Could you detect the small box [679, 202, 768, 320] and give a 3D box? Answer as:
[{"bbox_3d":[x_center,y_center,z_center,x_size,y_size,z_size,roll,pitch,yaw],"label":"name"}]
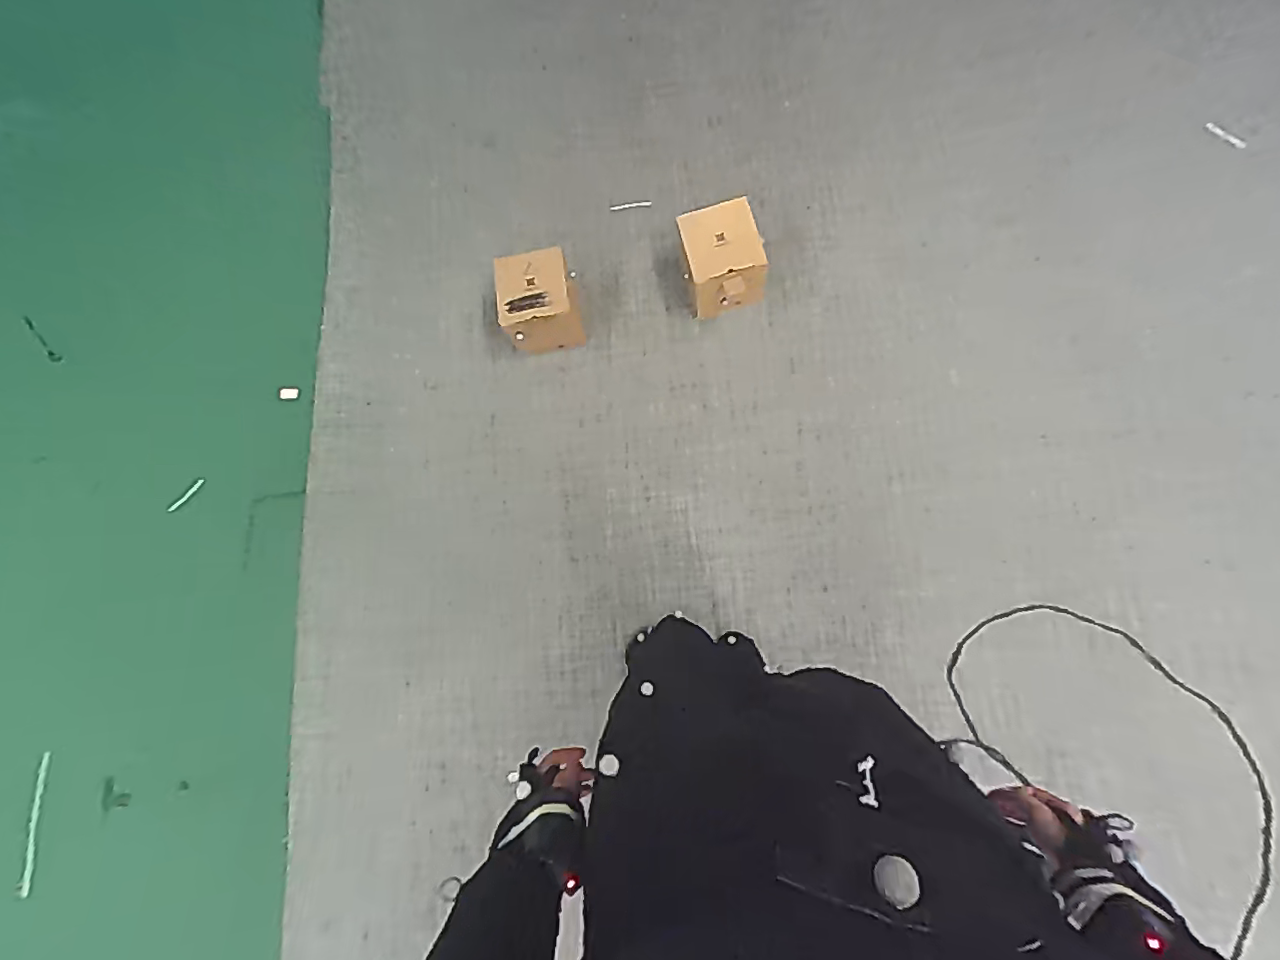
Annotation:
[{"bbox_3d":[0.192,-0.512,1.281,0.168,0.176,0.179,-15,78,4],"label":"small box"}]
